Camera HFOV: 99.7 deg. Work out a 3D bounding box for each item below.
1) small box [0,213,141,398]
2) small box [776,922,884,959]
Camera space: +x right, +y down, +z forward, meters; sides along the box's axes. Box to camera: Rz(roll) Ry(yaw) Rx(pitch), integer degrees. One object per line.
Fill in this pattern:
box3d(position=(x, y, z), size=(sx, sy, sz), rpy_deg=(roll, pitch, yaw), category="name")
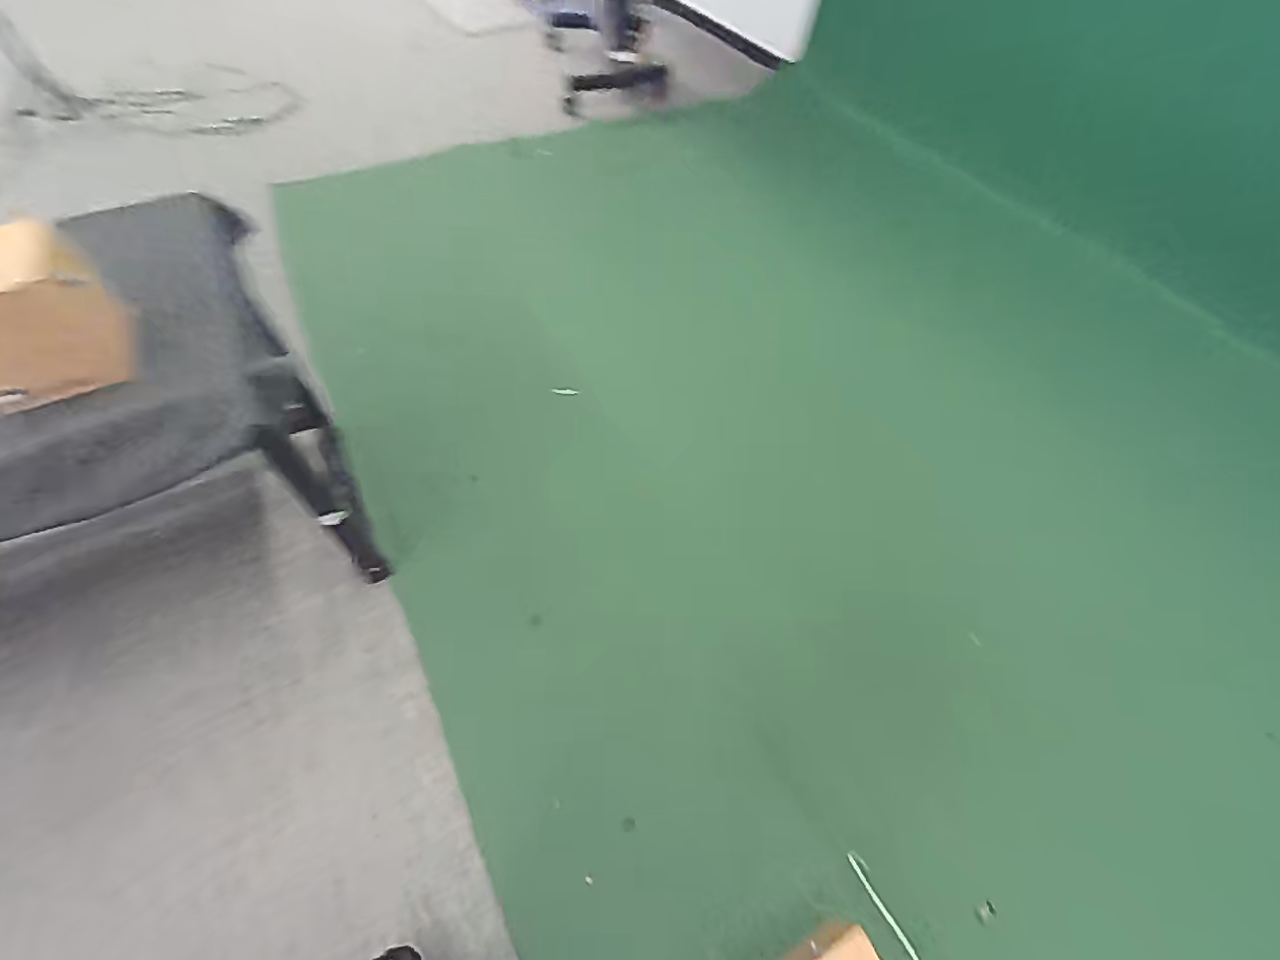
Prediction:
box3d(position=(-0.854, -0.238, 0.762), size=(0.168, 0.176, 0.179), rpy_deg=(-23, 58, -17), category="small box")
box3d(position=(0.336, 0.891, 0.916), size=(0.179, 0.176, 0.168), rpy_deg=(-21, 57, -16), category="small box")
